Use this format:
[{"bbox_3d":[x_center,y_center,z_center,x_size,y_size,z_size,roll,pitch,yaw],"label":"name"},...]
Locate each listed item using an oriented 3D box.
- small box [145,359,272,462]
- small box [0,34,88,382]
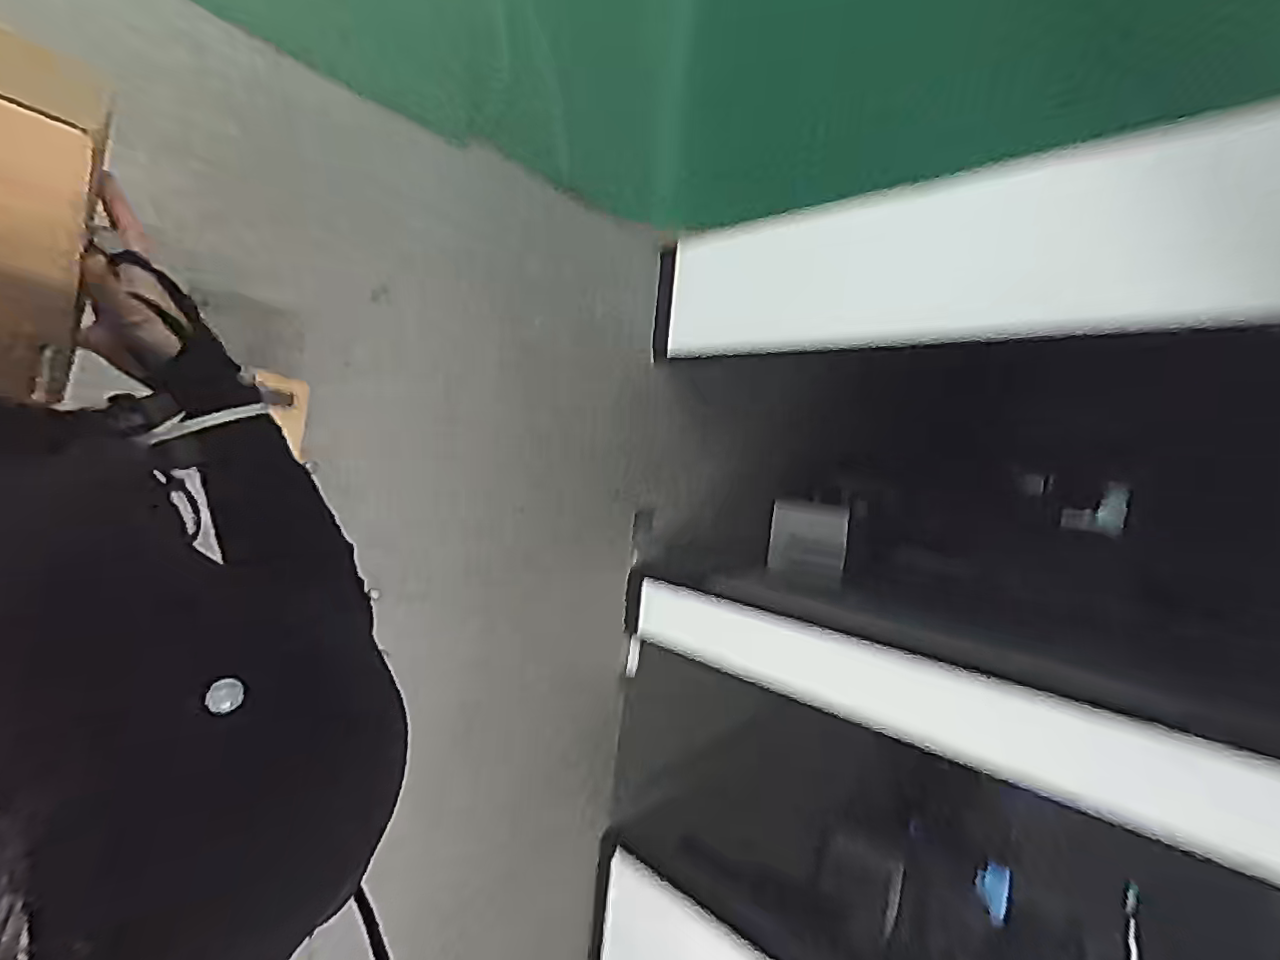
[{"bbox_3d":[-0.923,-0.146,1.154,0.168,0.176,0.179,15,85,-51],"label":"small box"},{"bbox_3d":[-0.425,-0.164,0.280,0.179,0.168,0.176,7,122,-47],"label":"small box"}]
